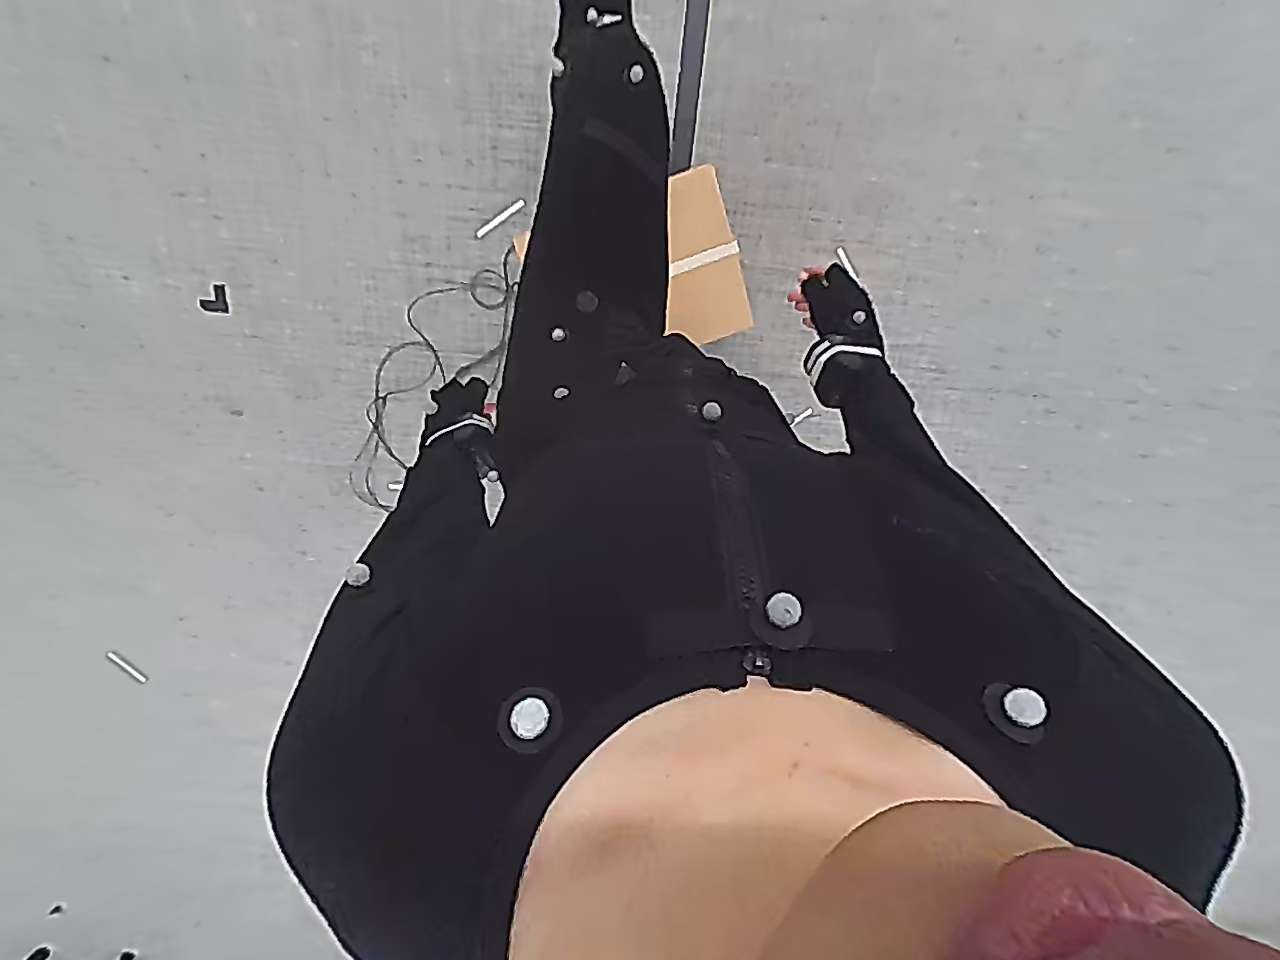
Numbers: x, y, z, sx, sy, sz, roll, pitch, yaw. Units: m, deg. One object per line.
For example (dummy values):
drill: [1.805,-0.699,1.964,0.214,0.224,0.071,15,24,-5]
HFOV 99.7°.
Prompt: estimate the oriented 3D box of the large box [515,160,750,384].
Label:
large box: [-0.009,-0.455,1.210,0.408,0.320,0.320,-18,110,7]
